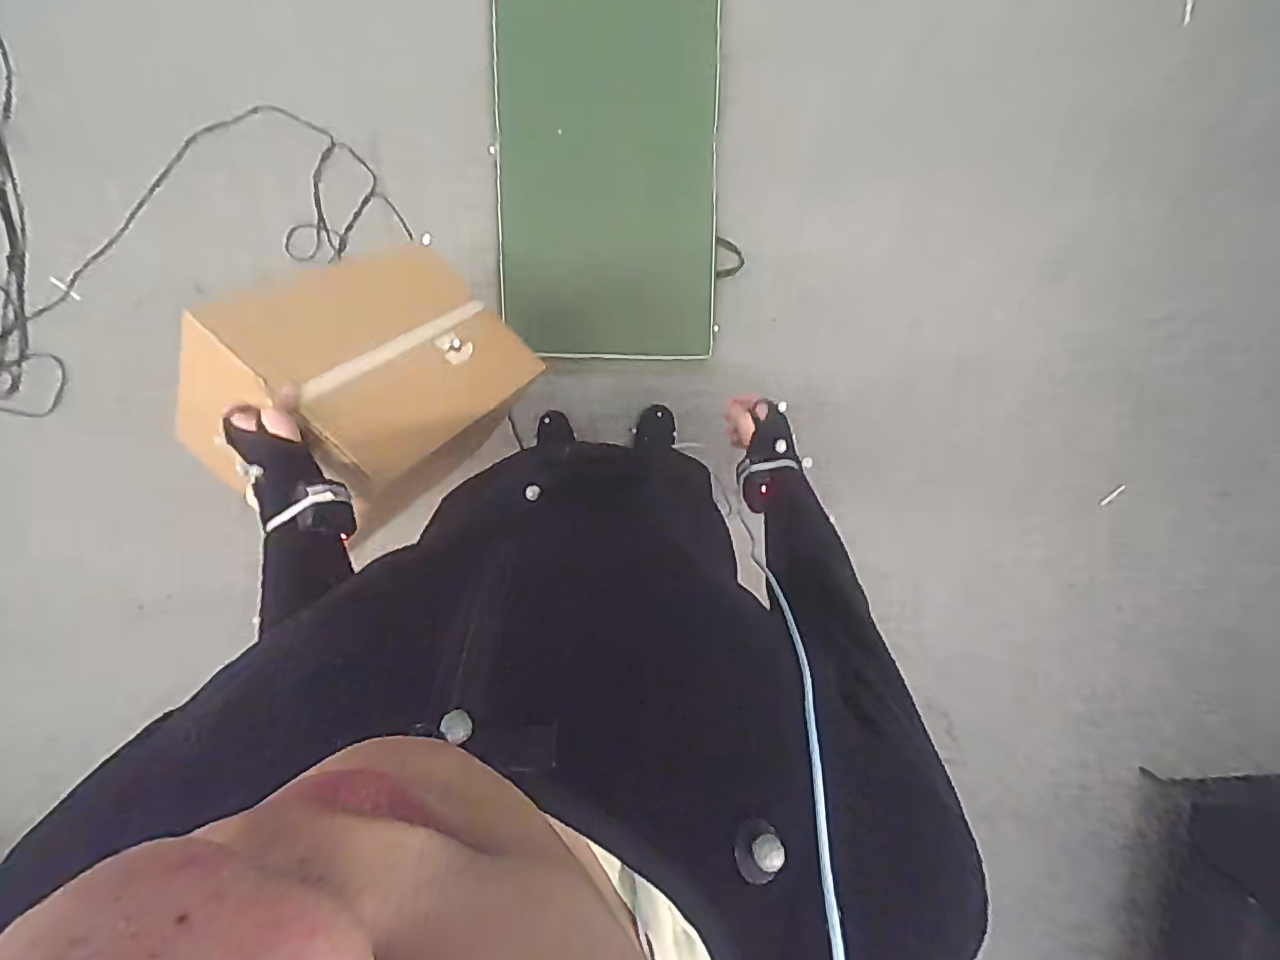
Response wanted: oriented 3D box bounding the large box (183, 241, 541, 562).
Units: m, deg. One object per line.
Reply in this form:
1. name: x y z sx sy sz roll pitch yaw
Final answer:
1. large box: -0.451 -0.137 0.918 0.320 0.408 0.320 47 131 -9
